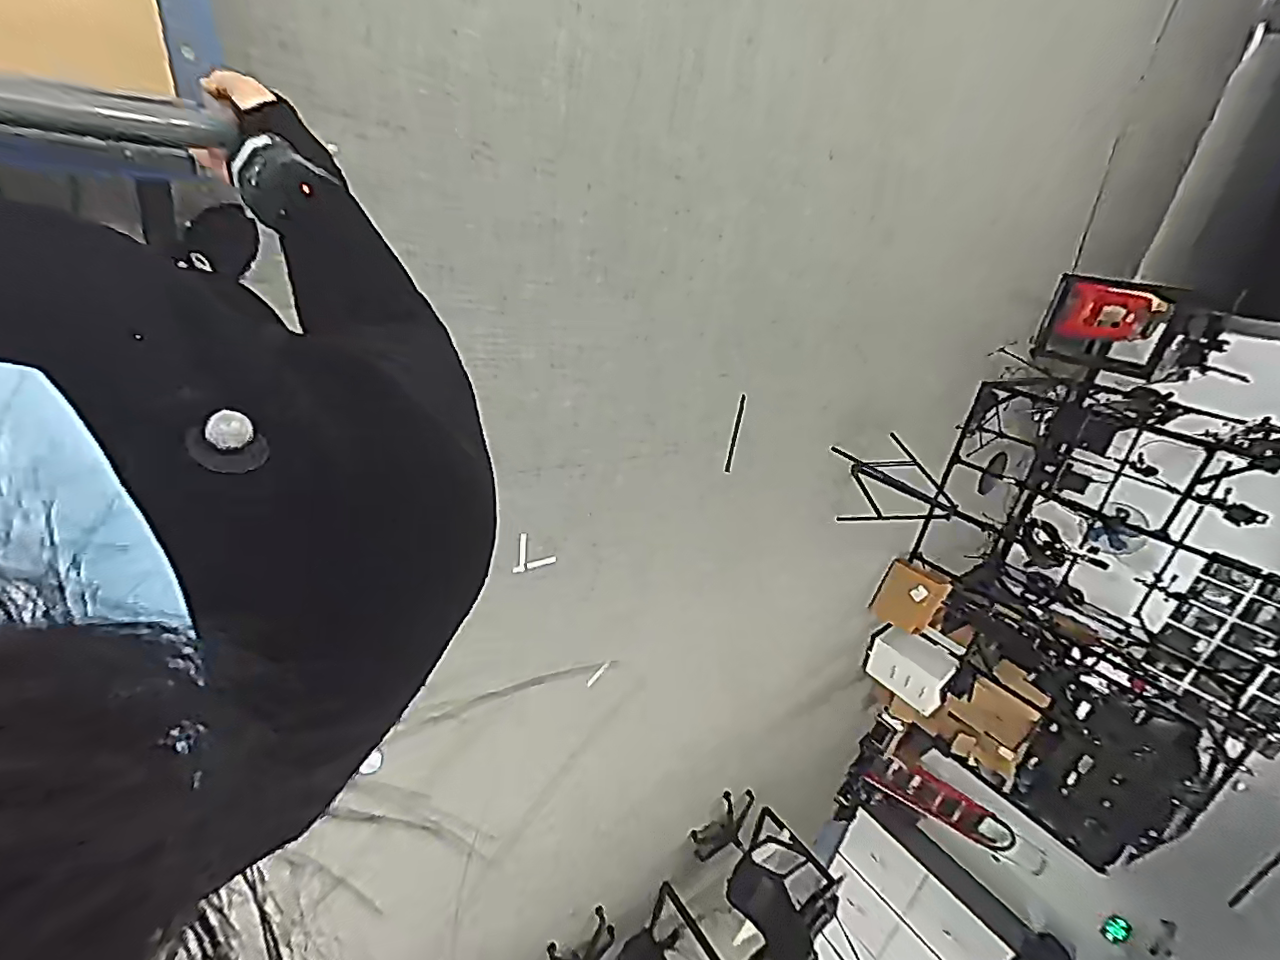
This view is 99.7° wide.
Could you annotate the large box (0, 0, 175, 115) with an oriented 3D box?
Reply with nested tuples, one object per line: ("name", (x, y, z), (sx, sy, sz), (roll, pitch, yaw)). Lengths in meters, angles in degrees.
("large box", (-0.819, -0.635, 0.602), (0.408, 0.320, 0.320), (-14, 123, -37))
